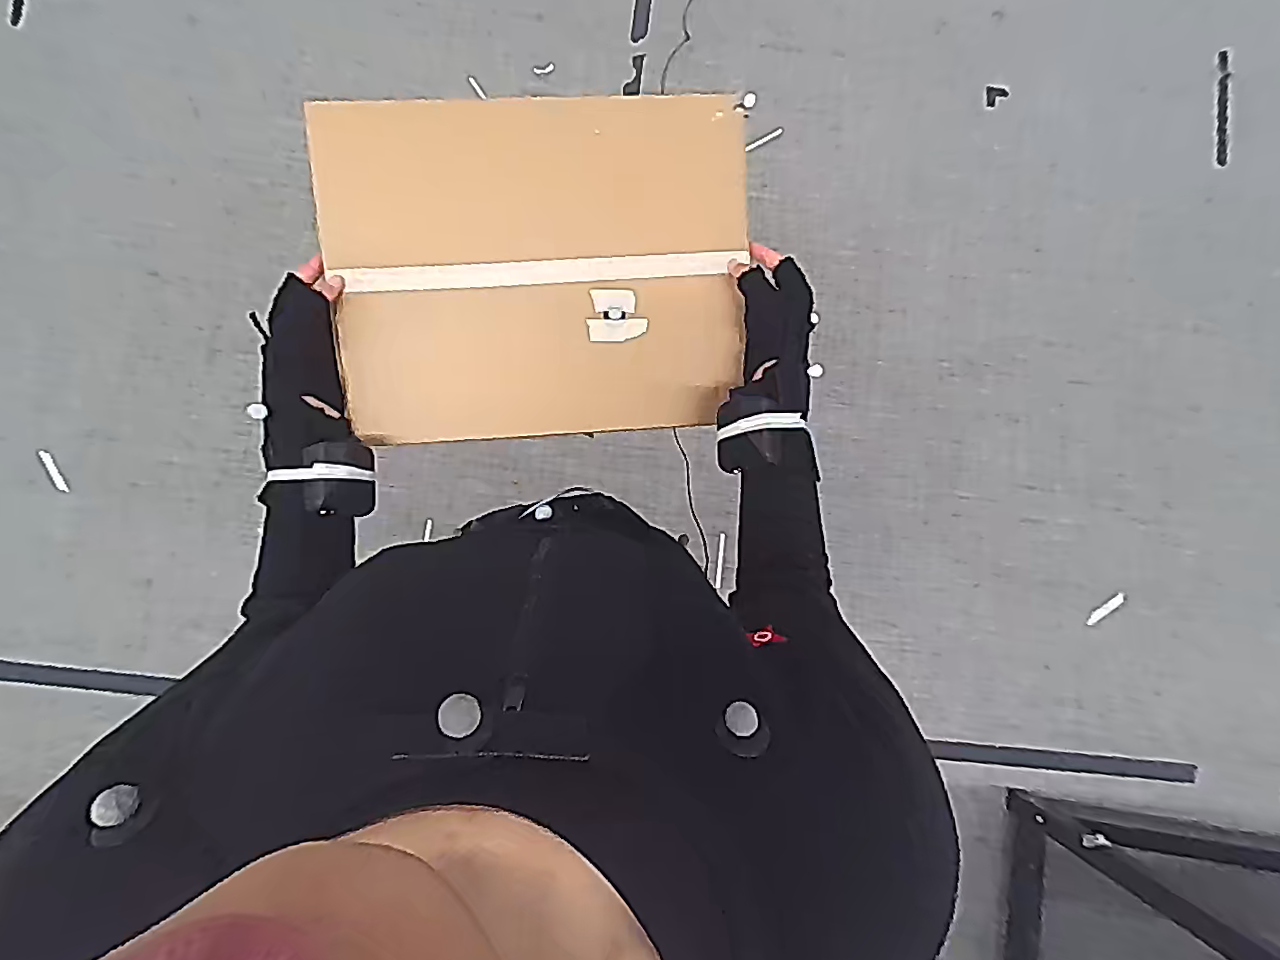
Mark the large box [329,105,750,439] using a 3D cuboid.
[{"bbox_3d":[-0.102,-0.226,0.687,0.408,0.320,0.320,-3,98,-5],"label":"large box"}]
